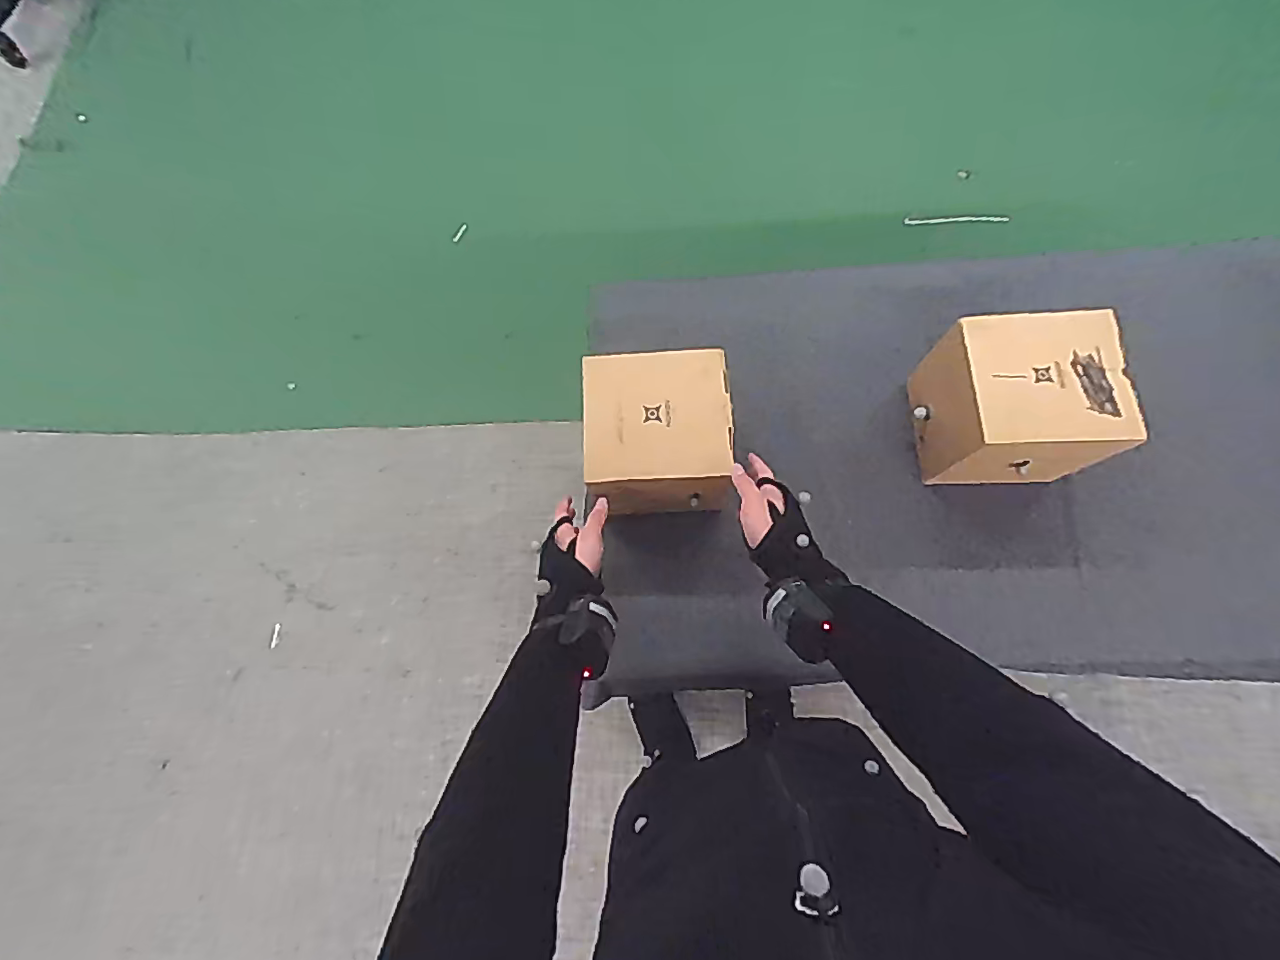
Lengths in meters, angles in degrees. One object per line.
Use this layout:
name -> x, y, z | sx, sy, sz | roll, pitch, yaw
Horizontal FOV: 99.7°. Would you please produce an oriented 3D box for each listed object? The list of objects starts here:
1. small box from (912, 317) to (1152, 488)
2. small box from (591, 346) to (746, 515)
small box -> 0.483, -0.091, 0.697 | 0.179, 0.176, 0.168 | -1, 72, 4
small box -> 0.033, -0.056, 0.706 | 0.179, 0.176, 0.168 | -3, 71, 3
